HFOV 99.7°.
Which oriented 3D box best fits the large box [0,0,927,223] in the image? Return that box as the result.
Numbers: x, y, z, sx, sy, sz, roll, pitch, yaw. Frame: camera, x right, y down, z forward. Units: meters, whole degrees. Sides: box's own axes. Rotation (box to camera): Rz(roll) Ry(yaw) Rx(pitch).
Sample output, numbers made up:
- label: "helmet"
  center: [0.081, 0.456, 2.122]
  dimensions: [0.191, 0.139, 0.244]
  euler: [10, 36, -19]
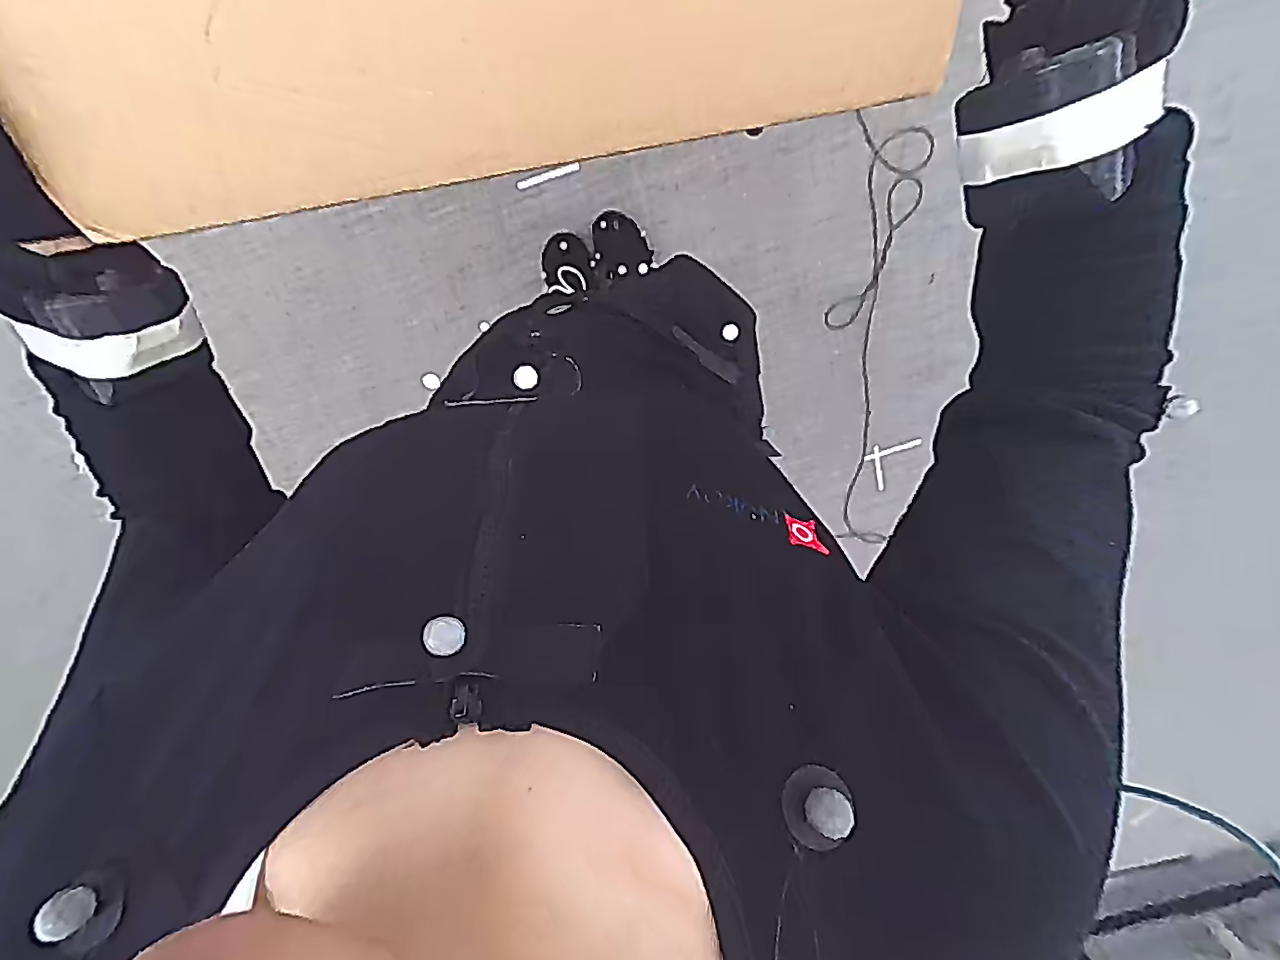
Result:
- label: "large box"
  center: [-0.099, -0.369, 0.256]
  dimensions: [0.408, 0.320, 0.320]
  euler: [-8, 135, 2]
